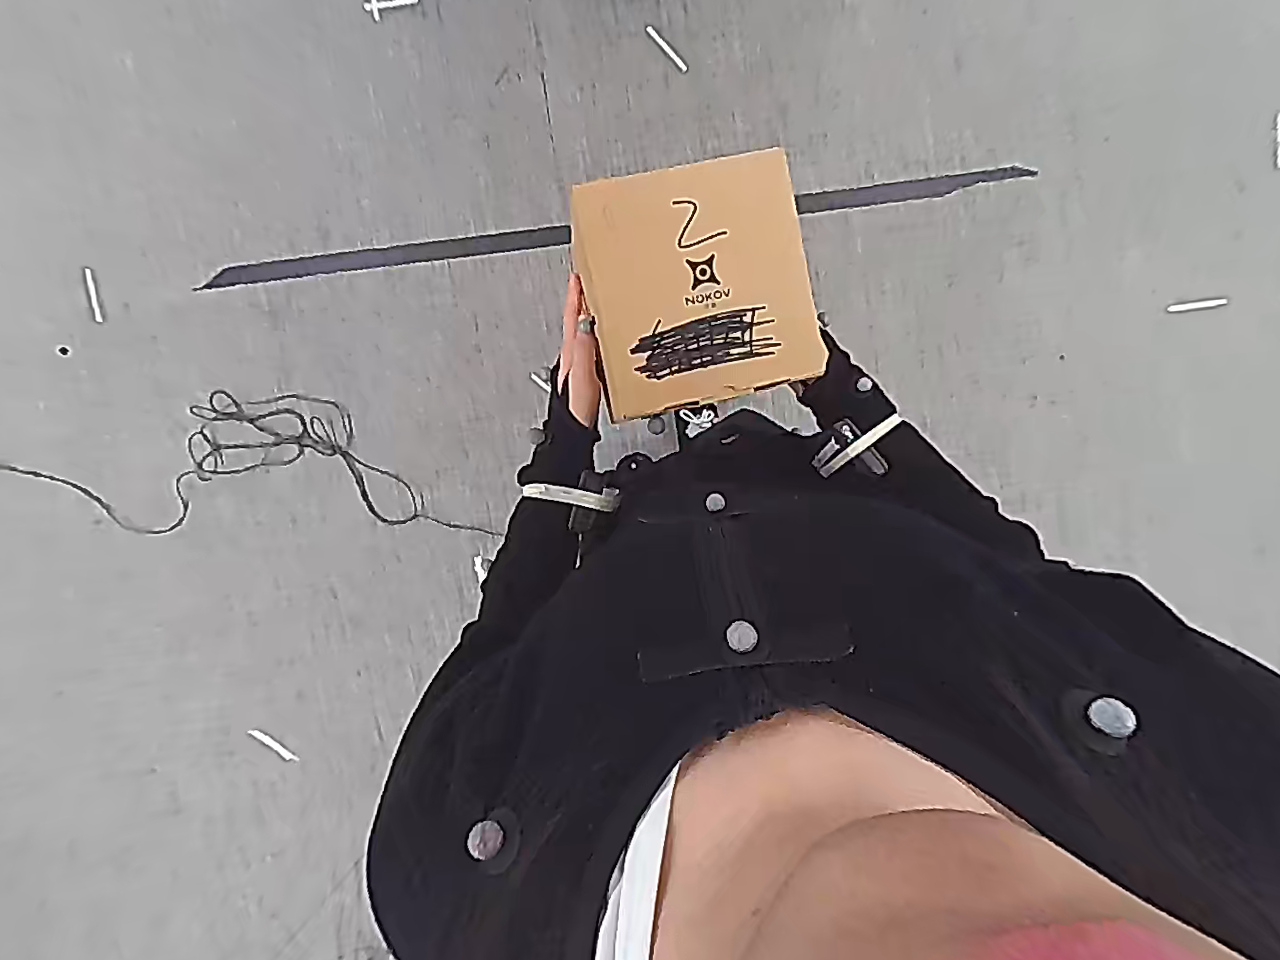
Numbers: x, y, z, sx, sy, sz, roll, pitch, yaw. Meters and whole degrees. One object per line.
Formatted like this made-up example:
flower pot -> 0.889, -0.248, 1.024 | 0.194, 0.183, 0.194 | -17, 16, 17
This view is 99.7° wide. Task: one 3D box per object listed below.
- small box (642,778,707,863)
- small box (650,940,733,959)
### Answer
small box -> 0.102, 0.976, 1.527 | 0.179, 0.176, 0.168 | -8, 96, 0
small box -> 0.112, 1.032, 1.039 | 0.168, 0.176, 0.179 | -7, 97, 0
